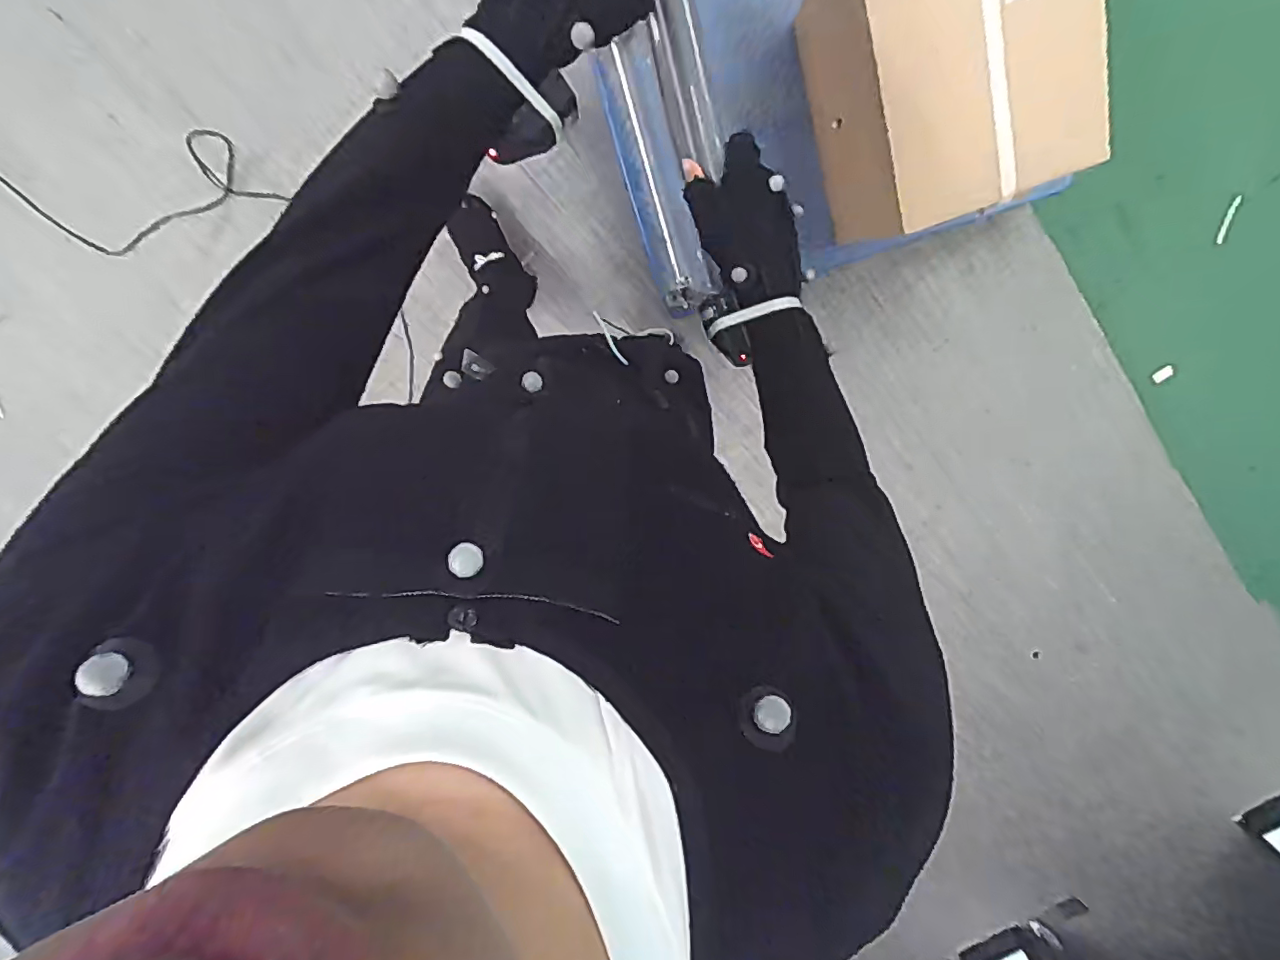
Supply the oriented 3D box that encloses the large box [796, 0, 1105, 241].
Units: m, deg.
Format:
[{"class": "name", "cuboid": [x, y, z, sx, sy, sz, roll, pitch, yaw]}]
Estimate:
[{"class": "large box", "cuboid": [0.493, -0.668, 0.910, 0.320, 0.320, 0.408, -19, 109, 6]}]
